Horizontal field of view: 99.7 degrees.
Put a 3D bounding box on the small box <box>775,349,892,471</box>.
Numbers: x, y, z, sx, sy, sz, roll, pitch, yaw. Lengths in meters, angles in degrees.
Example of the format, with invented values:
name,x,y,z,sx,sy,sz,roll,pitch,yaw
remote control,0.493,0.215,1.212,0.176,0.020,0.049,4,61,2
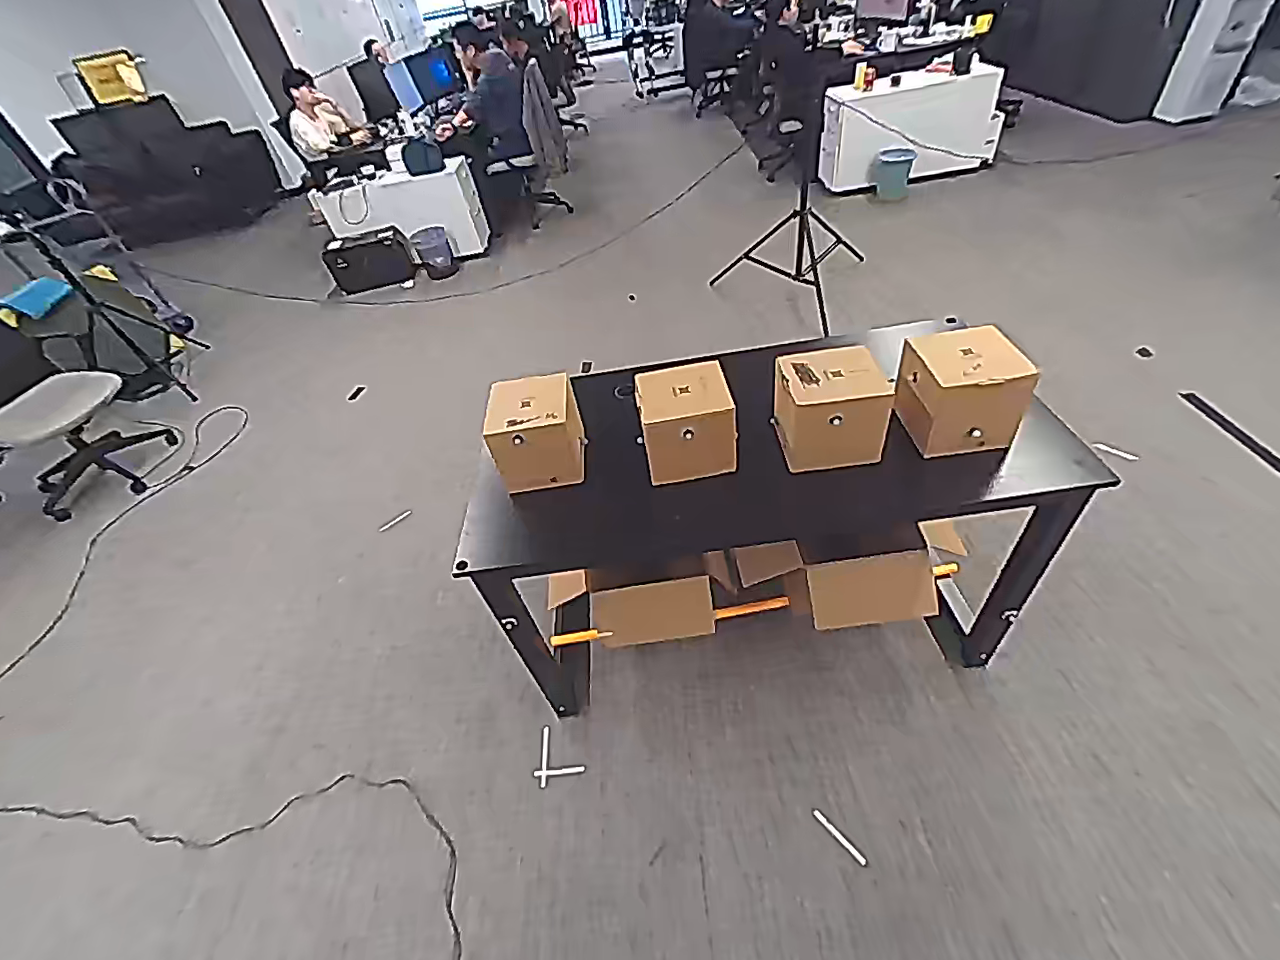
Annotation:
name,x,y,z,sx,sy,sz,roll,pitch,yaw
small box,0.368,-0.132,1.061,0.179,0.176,0.168,-6,44,5

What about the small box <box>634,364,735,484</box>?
name,x,y,z,sx,sy,sz,roll,pitch,yaw
small box,0.091,-0.110,1.100,0.179,0.176,0.168,-10,45,1

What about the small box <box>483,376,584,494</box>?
name,x,y,z,sx,sy,sz,roll,pitch,yaw
small box,-0.216,-0.094,1.146,0.168,0.176,0.179,-9,44,3

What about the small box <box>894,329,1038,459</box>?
name,x,y,z,sx,sy,sz,roll,pitch,yaw
small box,0.610,-0.164,1.041,0.168,0.176,0.179,-8,44,6
